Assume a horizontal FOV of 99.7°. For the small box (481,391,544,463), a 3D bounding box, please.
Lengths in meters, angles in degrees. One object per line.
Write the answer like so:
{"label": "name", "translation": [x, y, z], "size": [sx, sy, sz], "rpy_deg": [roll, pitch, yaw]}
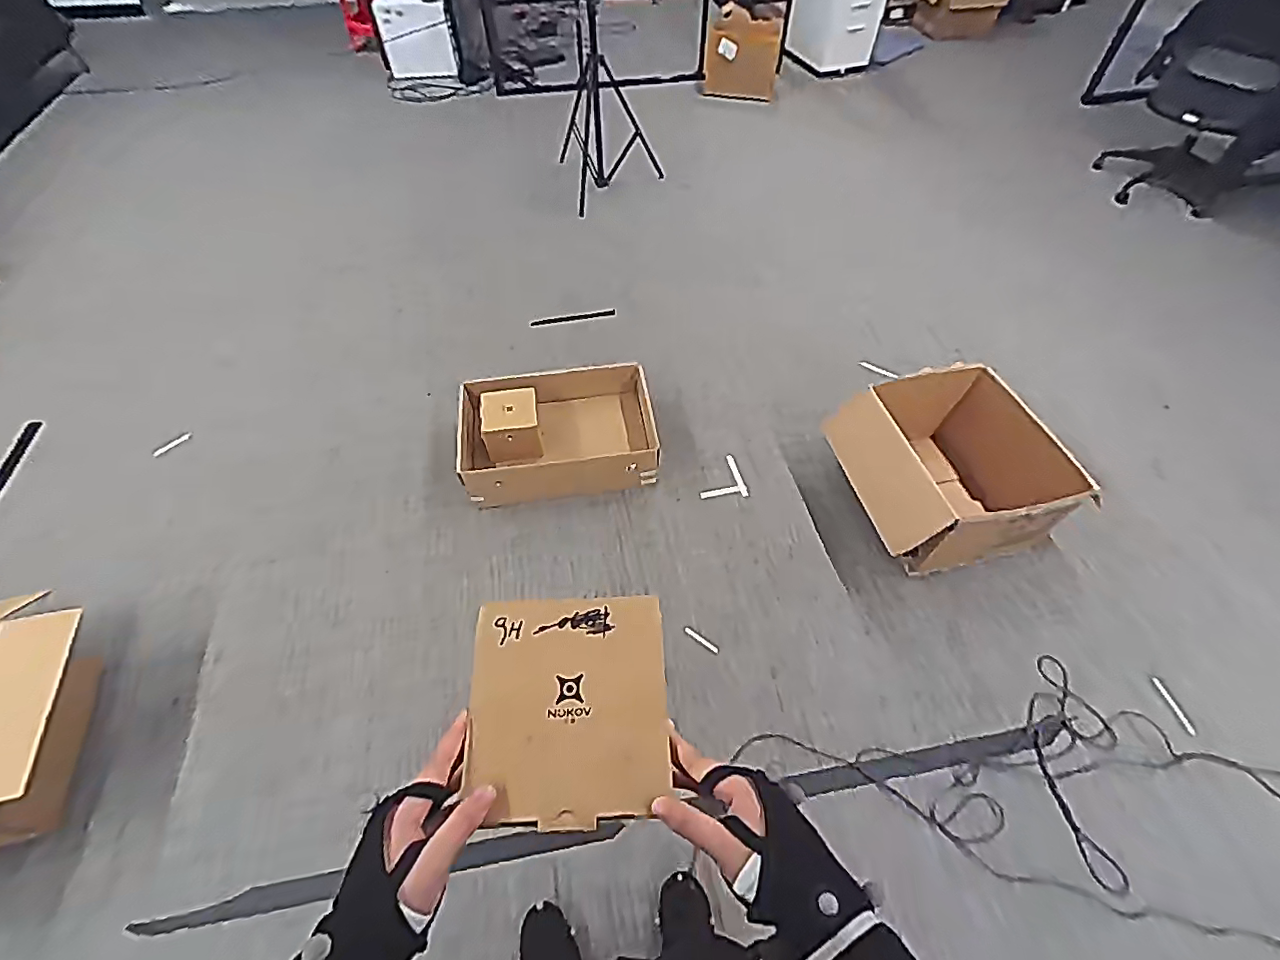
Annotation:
{"label": "small box", "translation": [-0.419, -0.170, 1.789], "size": [0.179, 0.176, 0.168], "rpy_deg": [-7, 57, -7]}

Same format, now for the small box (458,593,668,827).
{"label": "small box", "translation": [-0.063, 0.222, 0.522], "size": [0.168, 0.176, 0.179], "rpy_deg": [-2, 60, -3]}
